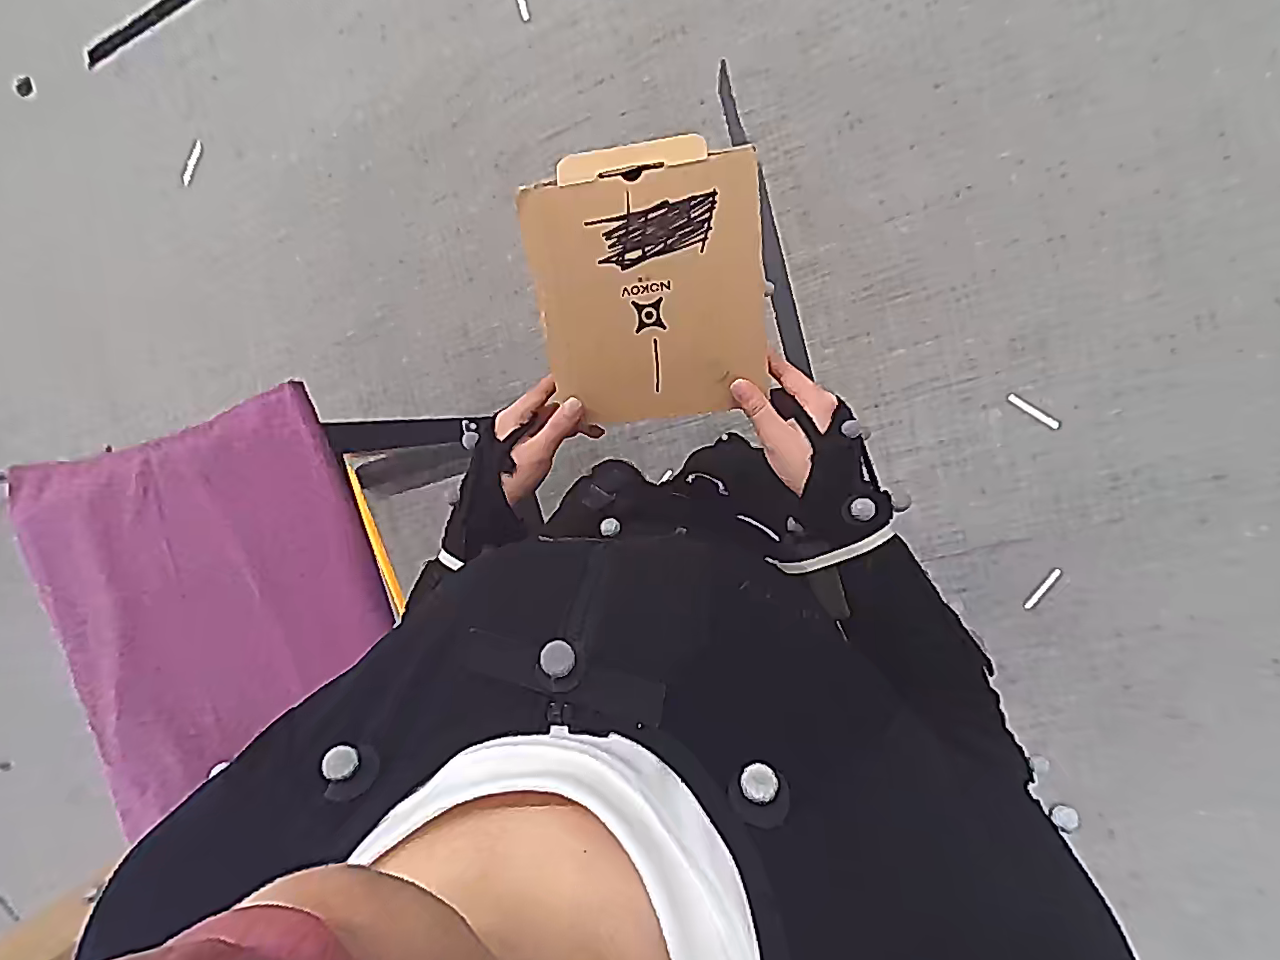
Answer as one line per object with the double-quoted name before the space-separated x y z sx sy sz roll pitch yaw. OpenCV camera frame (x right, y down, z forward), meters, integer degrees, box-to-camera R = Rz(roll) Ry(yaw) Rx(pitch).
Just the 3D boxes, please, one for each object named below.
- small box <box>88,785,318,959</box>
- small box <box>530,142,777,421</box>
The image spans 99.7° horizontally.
"small box" -0.595 0.568 0.758 0.168 0.176 0.179 -16 92 15
"small box" 0.021 -0.162 0.461 0.168 0.176 0.179 -5 112 8
